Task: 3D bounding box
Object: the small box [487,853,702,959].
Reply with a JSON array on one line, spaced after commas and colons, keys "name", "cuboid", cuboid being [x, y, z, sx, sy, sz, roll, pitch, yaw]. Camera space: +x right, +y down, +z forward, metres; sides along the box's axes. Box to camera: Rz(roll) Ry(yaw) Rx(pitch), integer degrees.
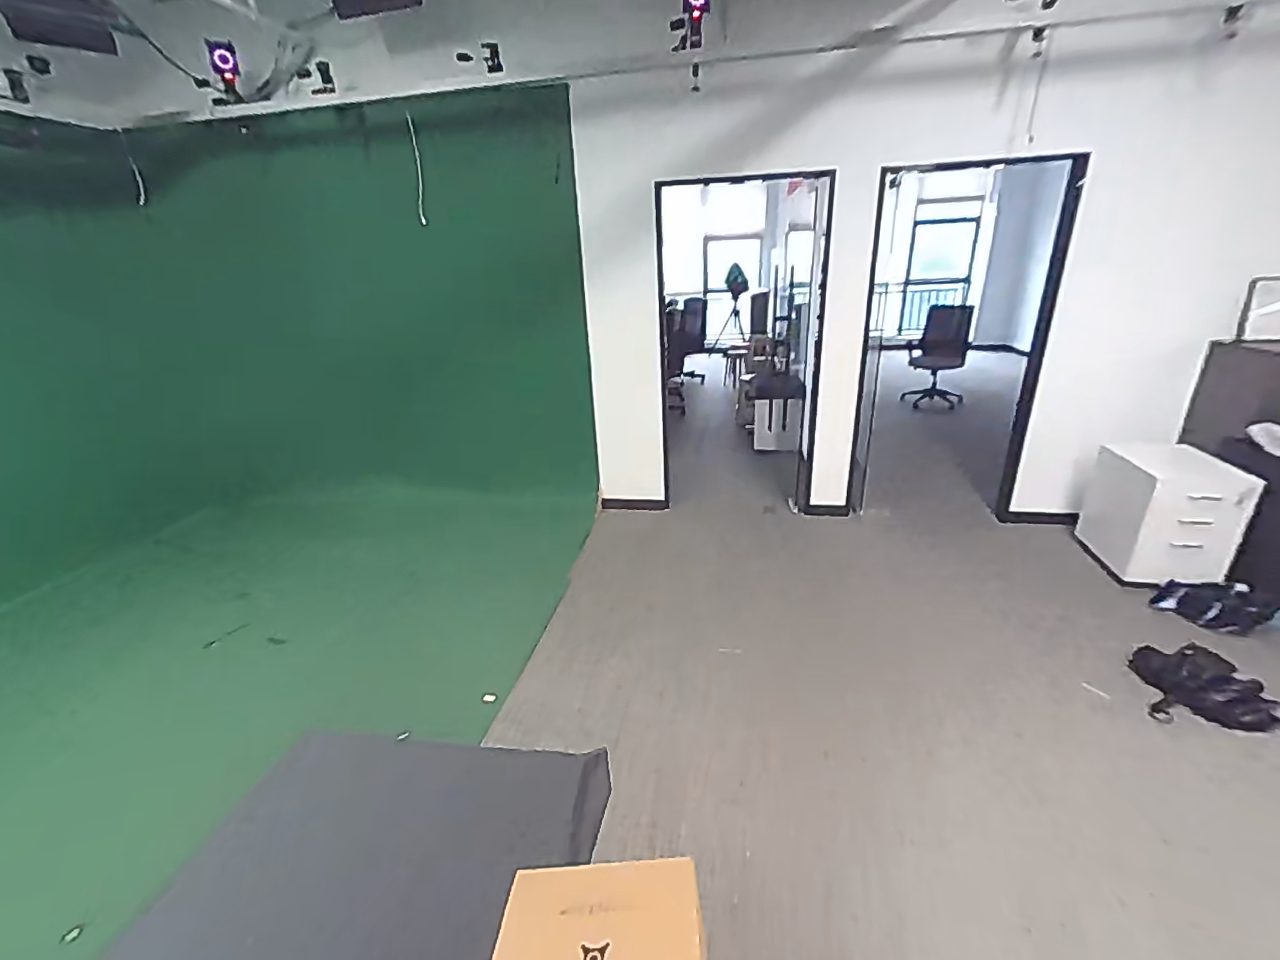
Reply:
[{"name": "small box", "cuboid": [-0.029, 0.445, 0.428, 0.168, 0.176, 0.179, -6, 10, 2]}]
